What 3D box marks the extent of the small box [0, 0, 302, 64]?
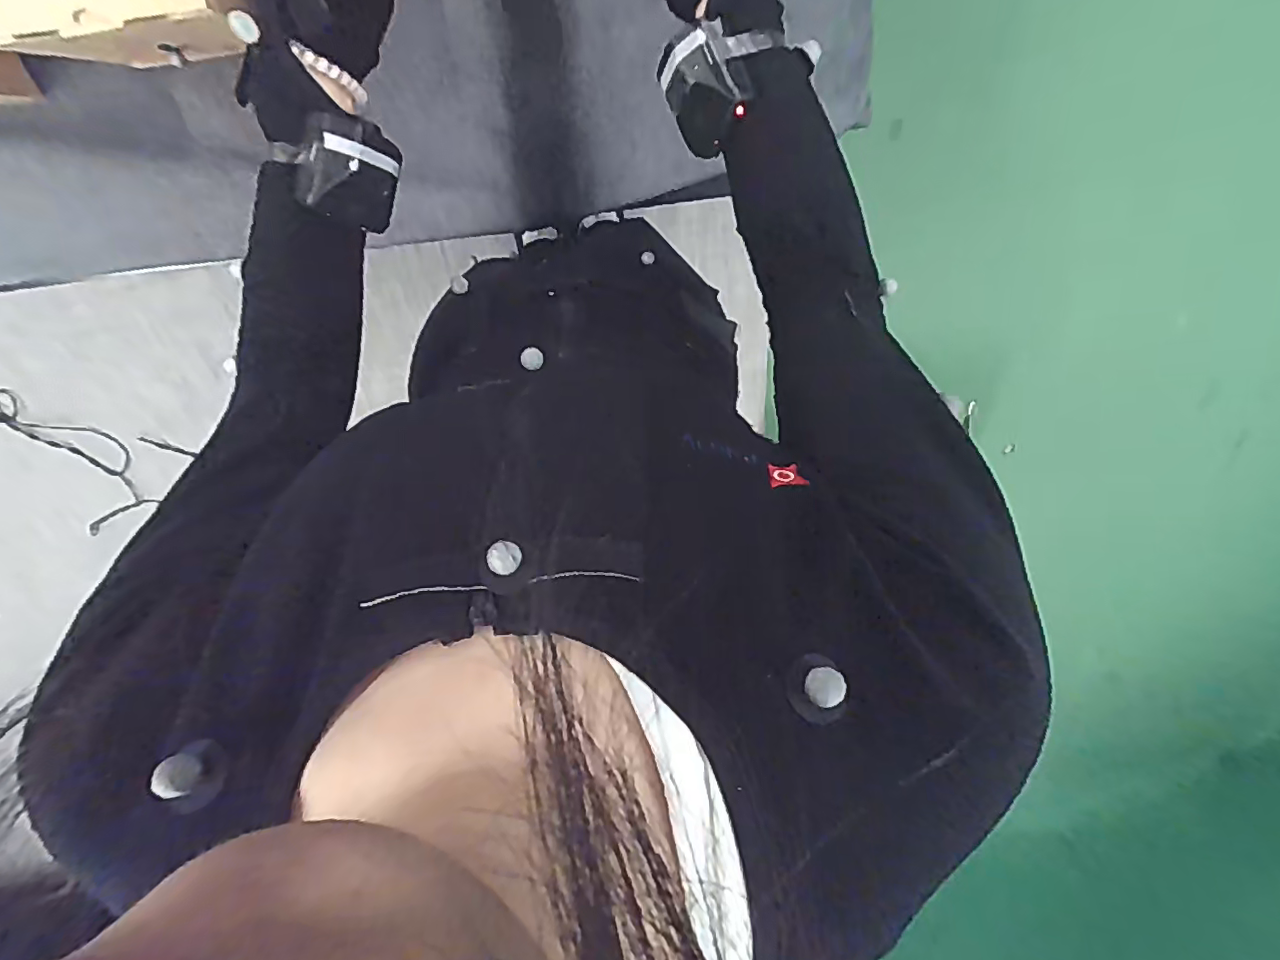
[{"bbox_3d":[-0.383,-0.416,0.378,0.168,0.176,0.179,-10,126,-1],"label":"small box"}]
